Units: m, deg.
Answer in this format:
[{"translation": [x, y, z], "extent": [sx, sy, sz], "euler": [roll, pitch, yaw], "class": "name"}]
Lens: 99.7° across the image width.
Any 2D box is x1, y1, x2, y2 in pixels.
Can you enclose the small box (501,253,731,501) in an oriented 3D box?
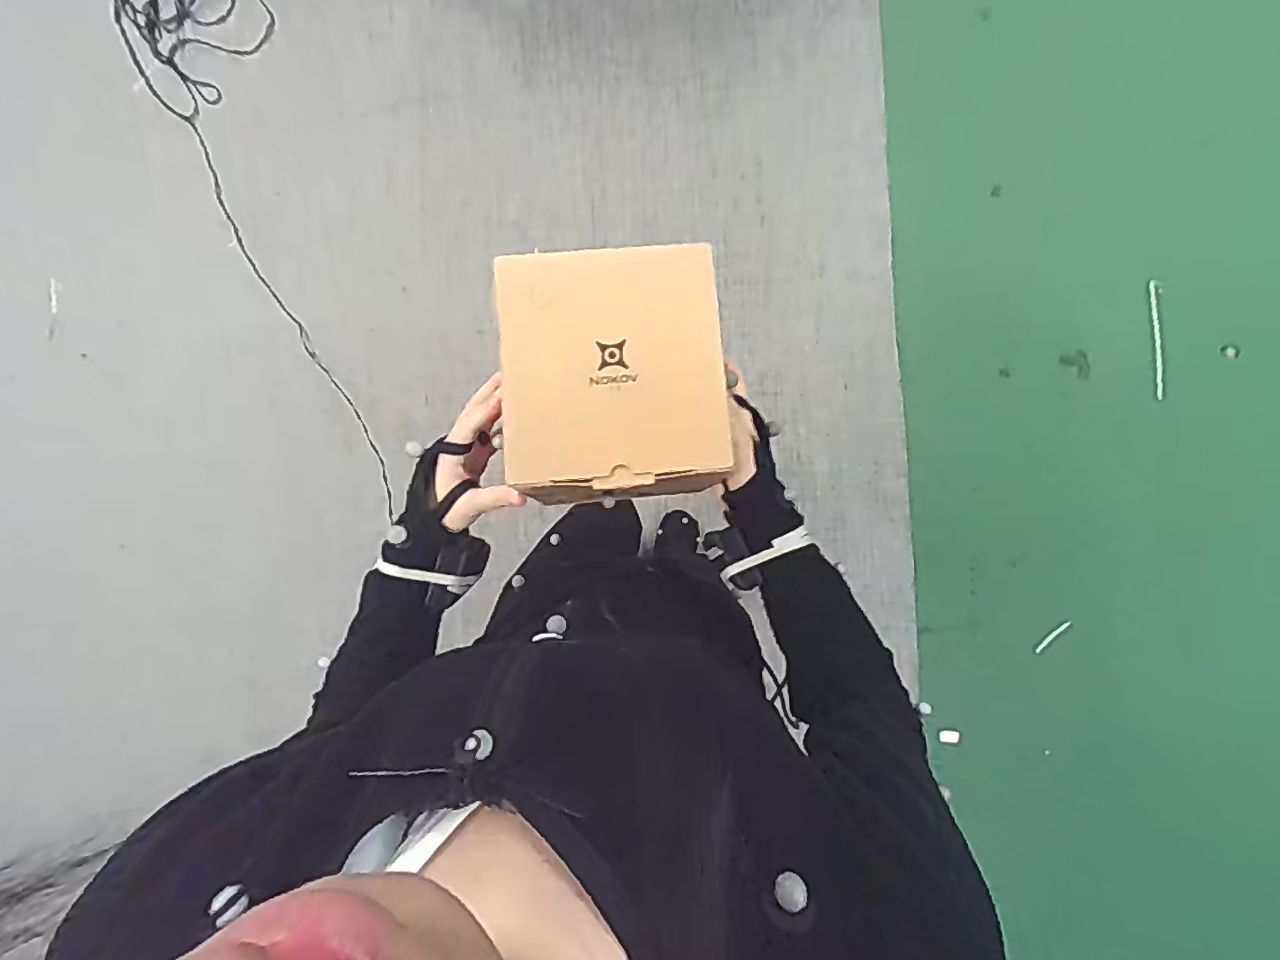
[{"translation": [-0.024, -0.077, 0.483], "extent": [0.168, 0.176, 0.179], "euler": [-5, 86, -4], "class": "small box"}]
